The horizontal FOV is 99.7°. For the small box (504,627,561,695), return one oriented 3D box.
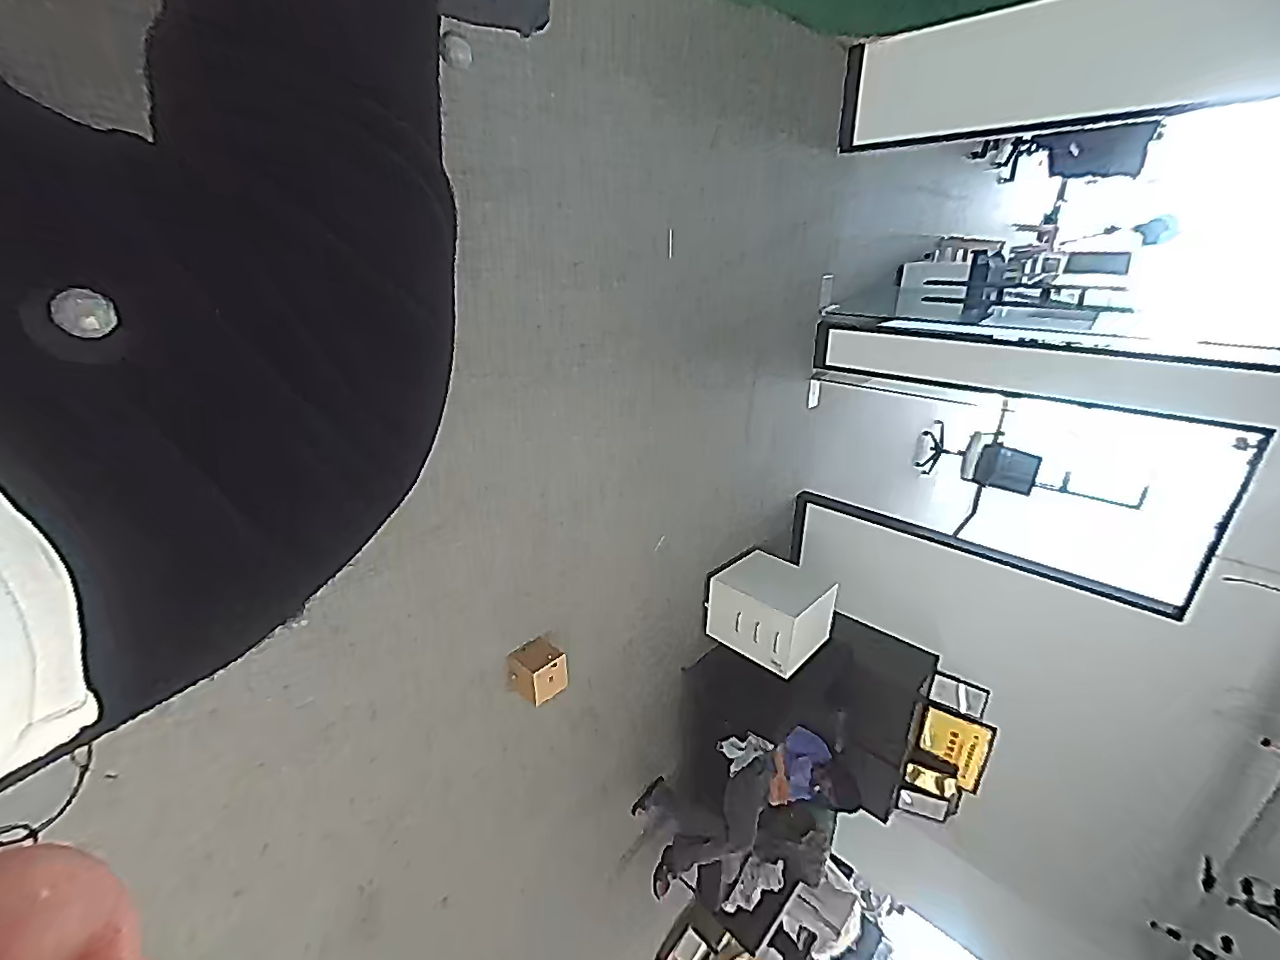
[{"bbox_3d":[-0.449,0.752,2.259,0.168,0.176,0.179,-23,123,-43],"label":"small box"}]
